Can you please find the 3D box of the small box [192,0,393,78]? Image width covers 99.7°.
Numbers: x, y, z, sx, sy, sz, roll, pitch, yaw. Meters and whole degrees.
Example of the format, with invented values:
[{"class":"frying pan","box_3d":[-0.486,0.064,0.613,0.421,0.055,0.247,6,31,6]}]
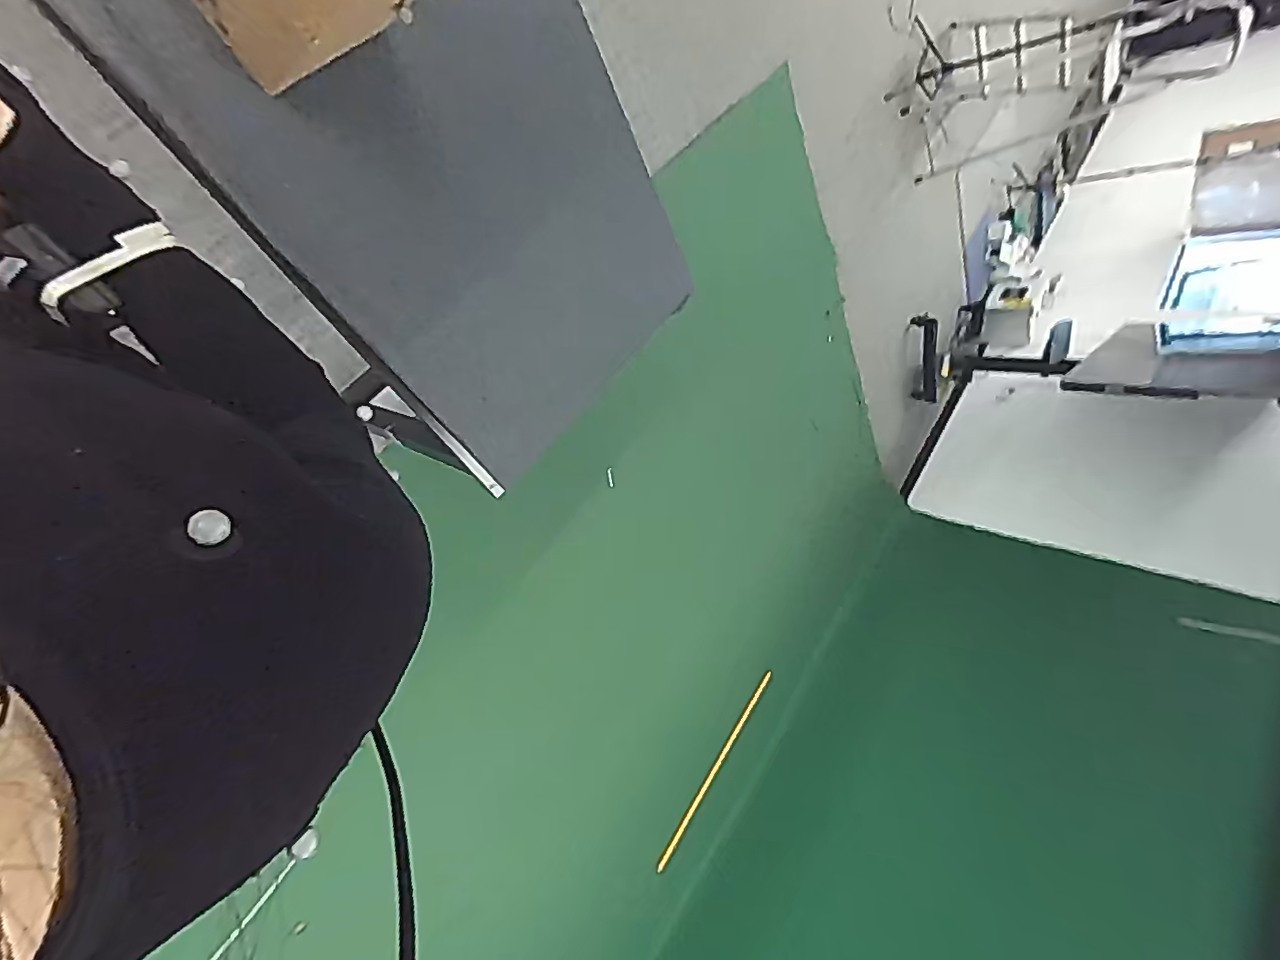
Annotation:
[{"class":"small box","box_3d":[-0.338,-0.524,0.506,0.179,0.176,0.168,-52,133,-21]}]
